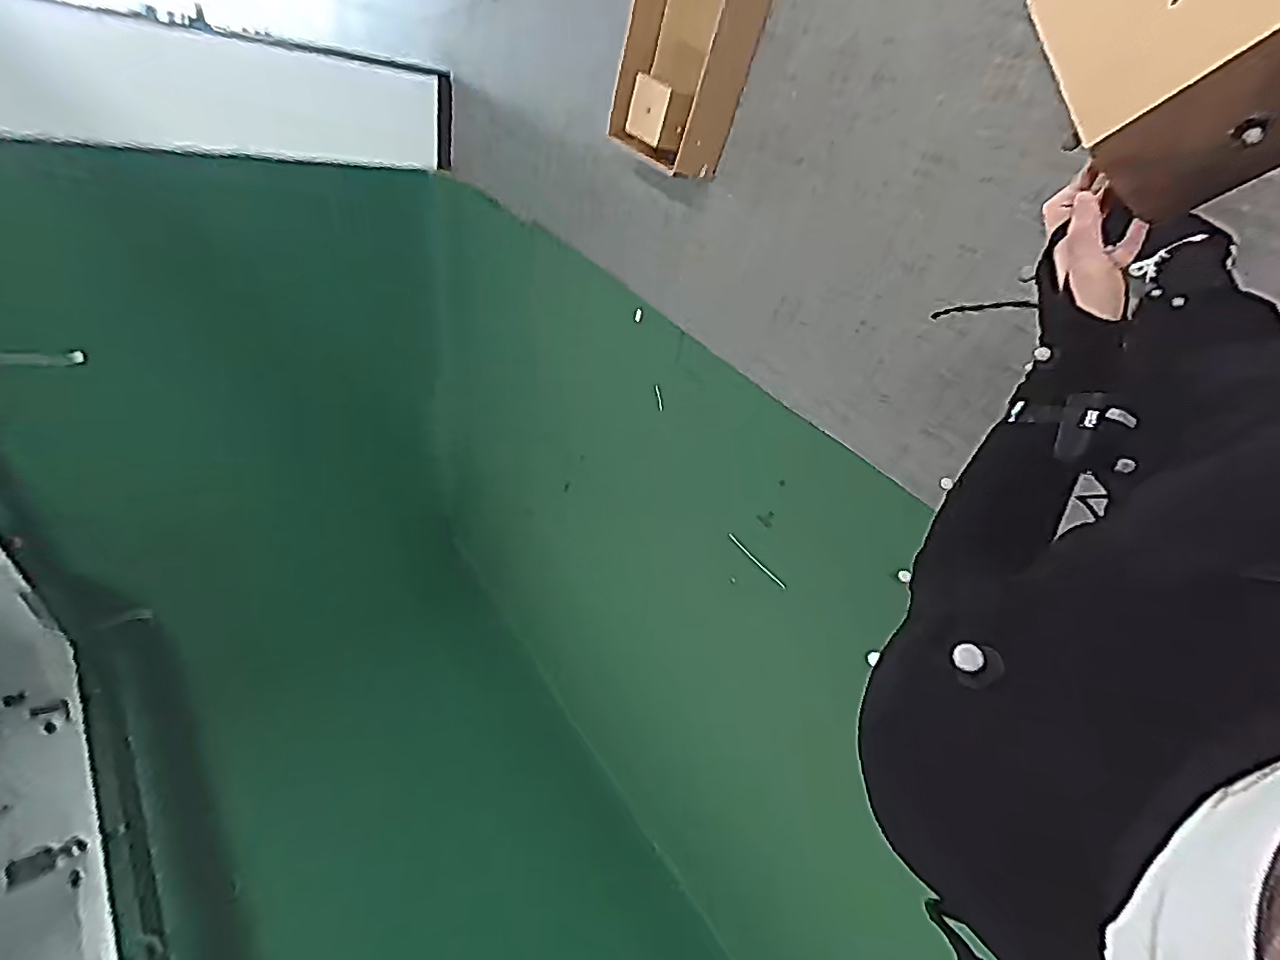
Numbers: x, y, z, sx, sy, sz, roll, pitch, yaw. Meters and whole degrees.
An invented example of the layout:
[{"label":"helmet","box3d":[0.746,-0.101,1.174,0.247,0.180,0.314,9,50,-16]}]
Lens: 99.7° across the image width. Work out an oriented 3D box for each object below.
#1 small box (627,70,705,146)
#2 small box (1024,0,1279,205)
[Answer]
[{"label":"small box","box3d":[0.089,-1.239,1.810,0.179,0.176,0.168,47,136,28]},{"label":"small box","box3d":[0.451,-0.353,0.430,0.168,0.176,0.179,-25,61,51]}]
